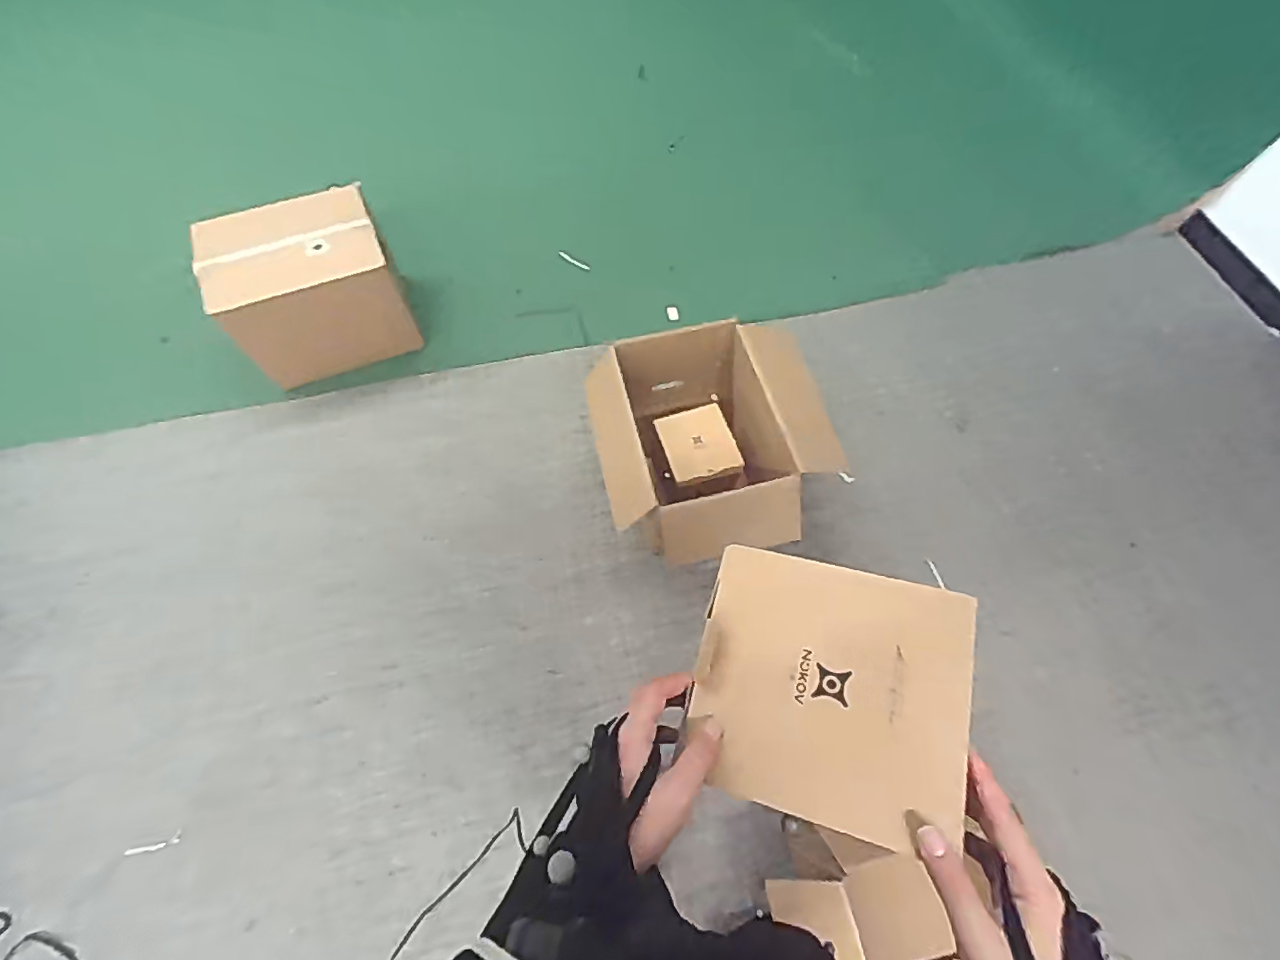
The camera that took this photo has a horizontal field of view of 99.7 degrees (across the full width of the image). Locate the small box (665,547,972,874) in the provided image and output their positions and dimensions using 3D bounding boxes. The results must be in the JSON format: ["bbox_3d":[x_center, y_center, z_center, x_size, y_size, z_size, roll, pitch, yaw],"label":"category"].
[{"bbox_3d":[0.133,0.171,0.425,0.179,0.176,0.168,10,67,16],"label":"small box"}]
